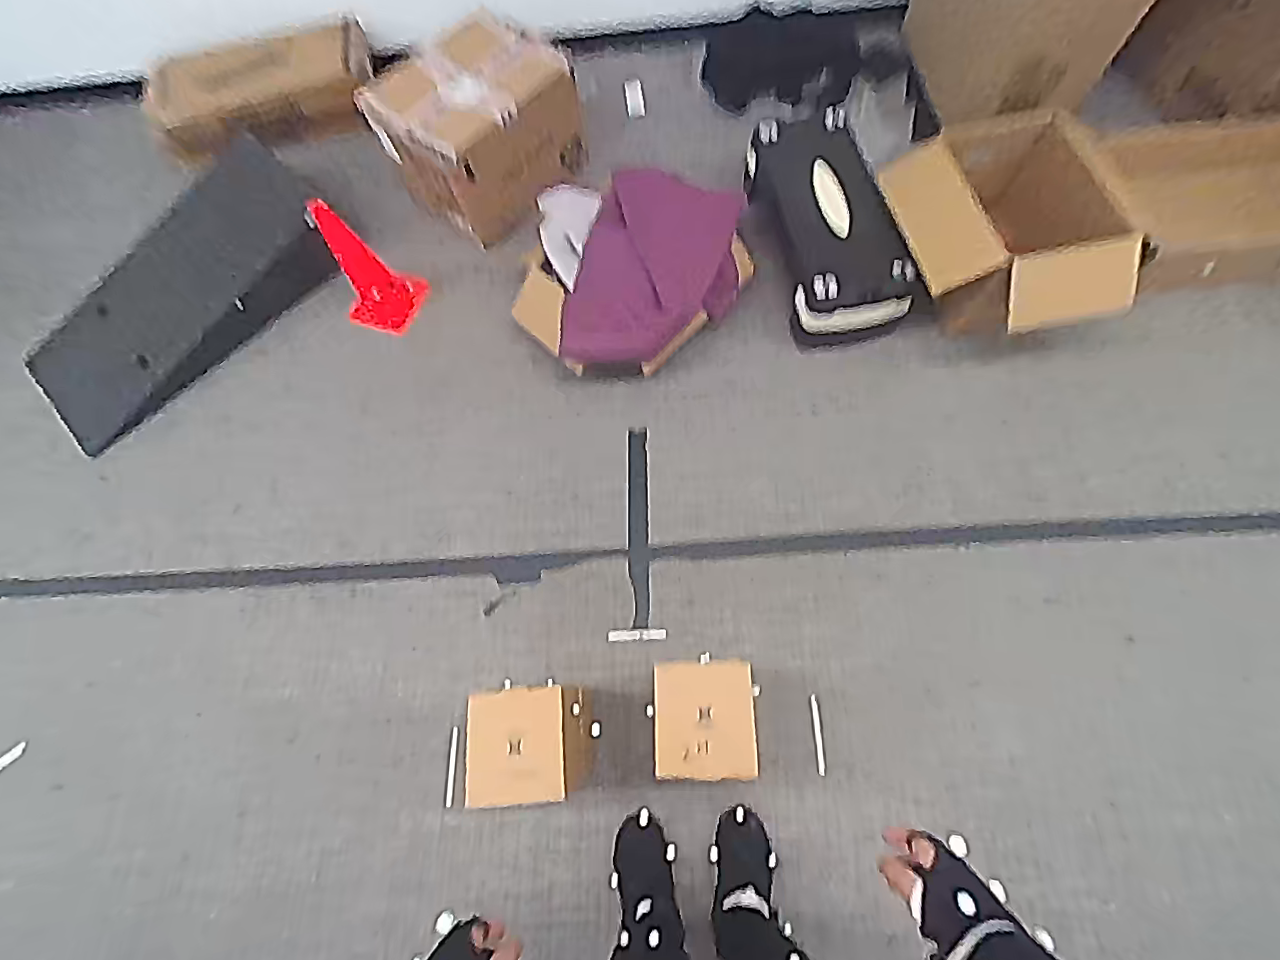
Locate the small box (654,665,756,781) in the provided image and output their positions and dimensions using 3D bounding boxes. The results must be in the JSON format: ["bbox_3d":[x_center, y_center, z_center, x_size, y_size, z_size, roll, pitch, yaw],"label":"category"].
[{"bbox_3d":[0.110,0.430,0.971,0.168,0.176,0.179,-2,69,4],"label":"small box"}]

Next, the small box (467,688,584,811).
[{"bbox_3d":[-0.201,0.477,0.978,0.168,0.176,0.179,-7,70,3],"label":"small box"}]

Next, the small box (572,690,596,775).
[{"bbox_3d":[-0.193,0.534,1.130,0.179,0.176,0.168,-5,69,2],"label":"small box"}]
